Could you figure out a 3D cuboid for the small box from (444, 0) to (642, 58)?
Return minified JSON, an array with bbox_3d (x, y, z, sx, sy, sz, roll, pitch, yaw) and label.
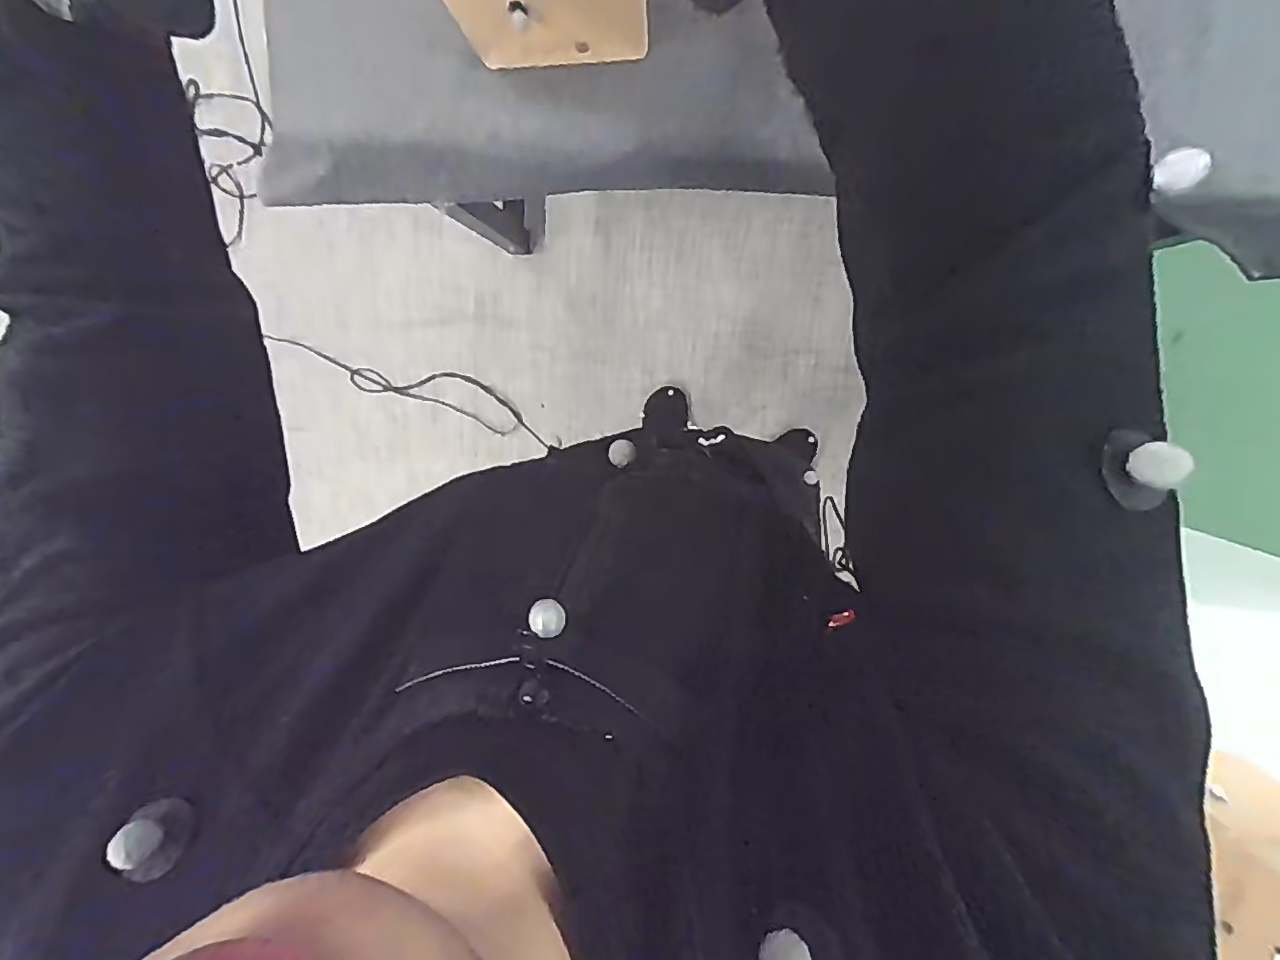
[{"bbox_3d":[-0.086,-0.489,0.452,0.168,0.176,0.179,0,101,4],"label":"small box"}]
